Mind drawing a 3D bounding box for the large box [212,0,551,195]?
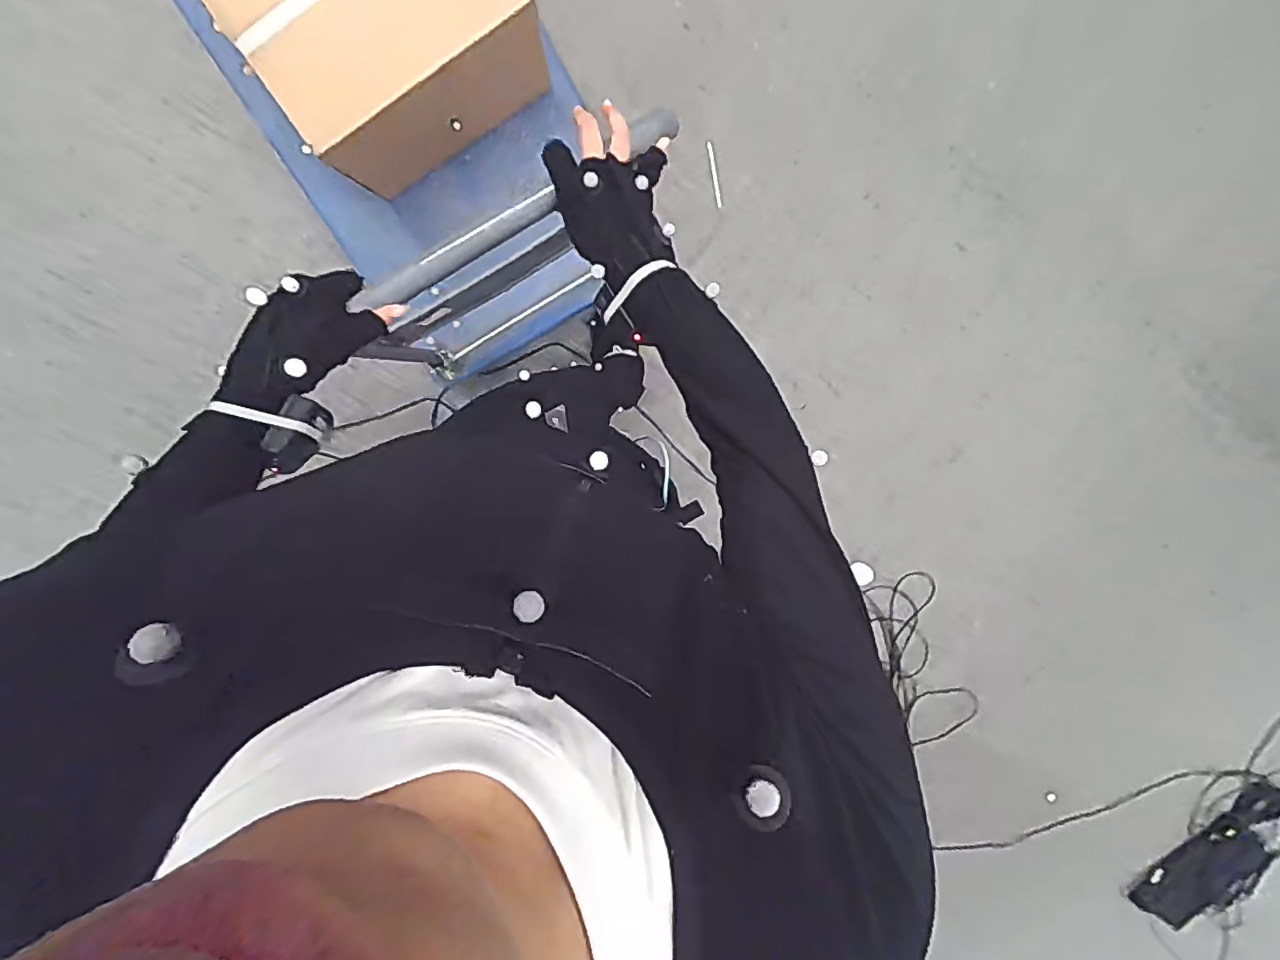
[{"bbox_3d":[-0.408,-0.764,0.911,0.408,0.320,0.320,-32,105,5],"label":"large box"}]
